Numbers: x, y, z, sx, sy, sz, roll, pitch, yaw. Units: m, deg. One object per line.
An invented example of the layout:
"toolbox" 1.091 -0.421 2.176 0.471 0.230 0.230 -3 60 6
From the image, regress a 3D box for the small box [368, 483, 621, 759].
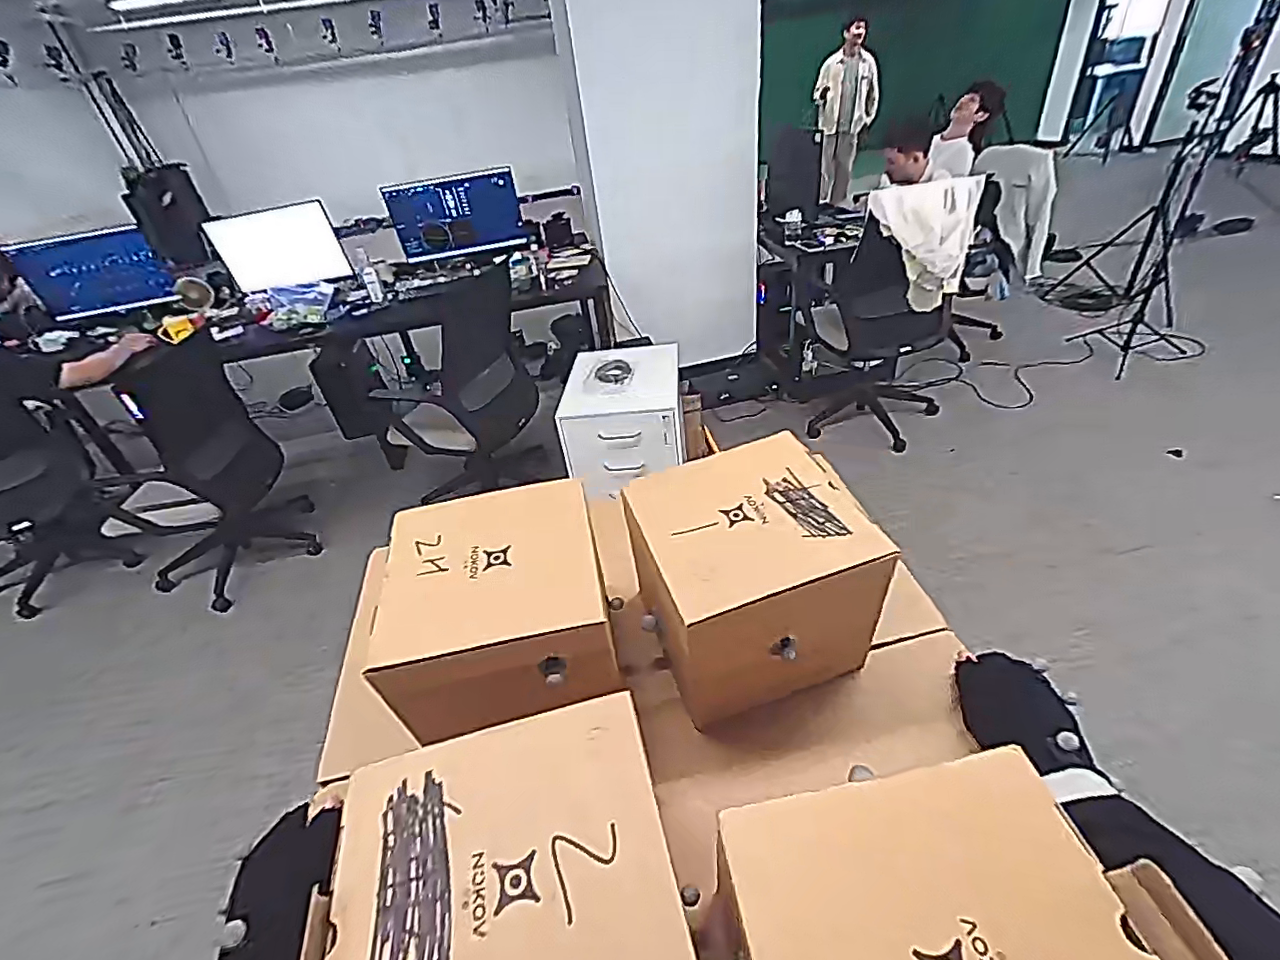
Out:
"small box" -0.117 0.131 0.505 0.179 0.176 0.168 -12 40 -4
